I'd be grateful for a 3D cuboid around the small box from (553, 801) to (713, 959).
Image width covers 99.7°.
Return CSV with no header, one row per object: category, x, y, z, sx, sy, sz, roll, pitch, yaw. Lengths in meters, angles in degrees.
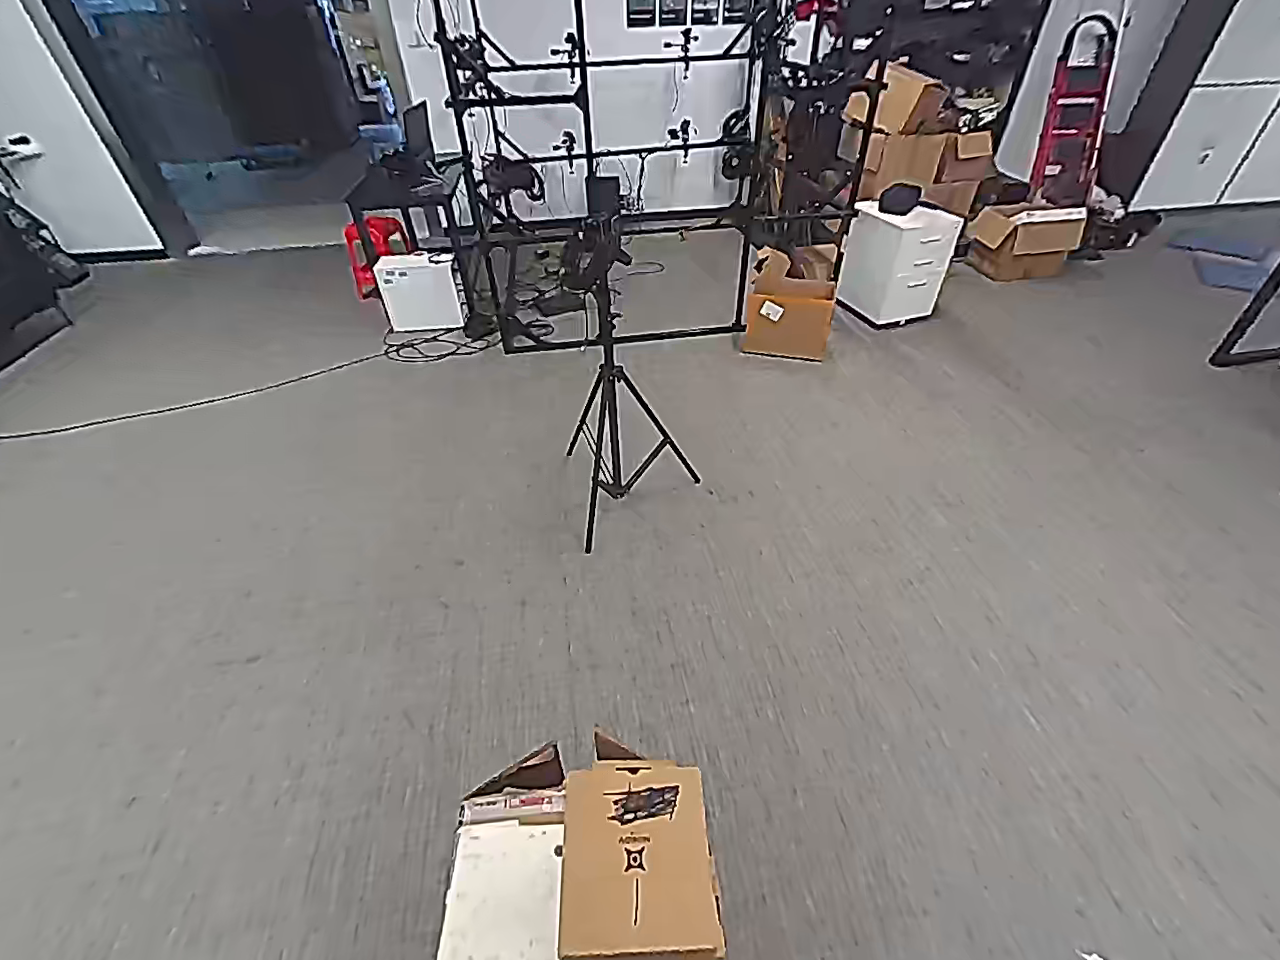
small box,-0.011,0.508,0.645,0.168,0.176,0.179,0,43,-2
